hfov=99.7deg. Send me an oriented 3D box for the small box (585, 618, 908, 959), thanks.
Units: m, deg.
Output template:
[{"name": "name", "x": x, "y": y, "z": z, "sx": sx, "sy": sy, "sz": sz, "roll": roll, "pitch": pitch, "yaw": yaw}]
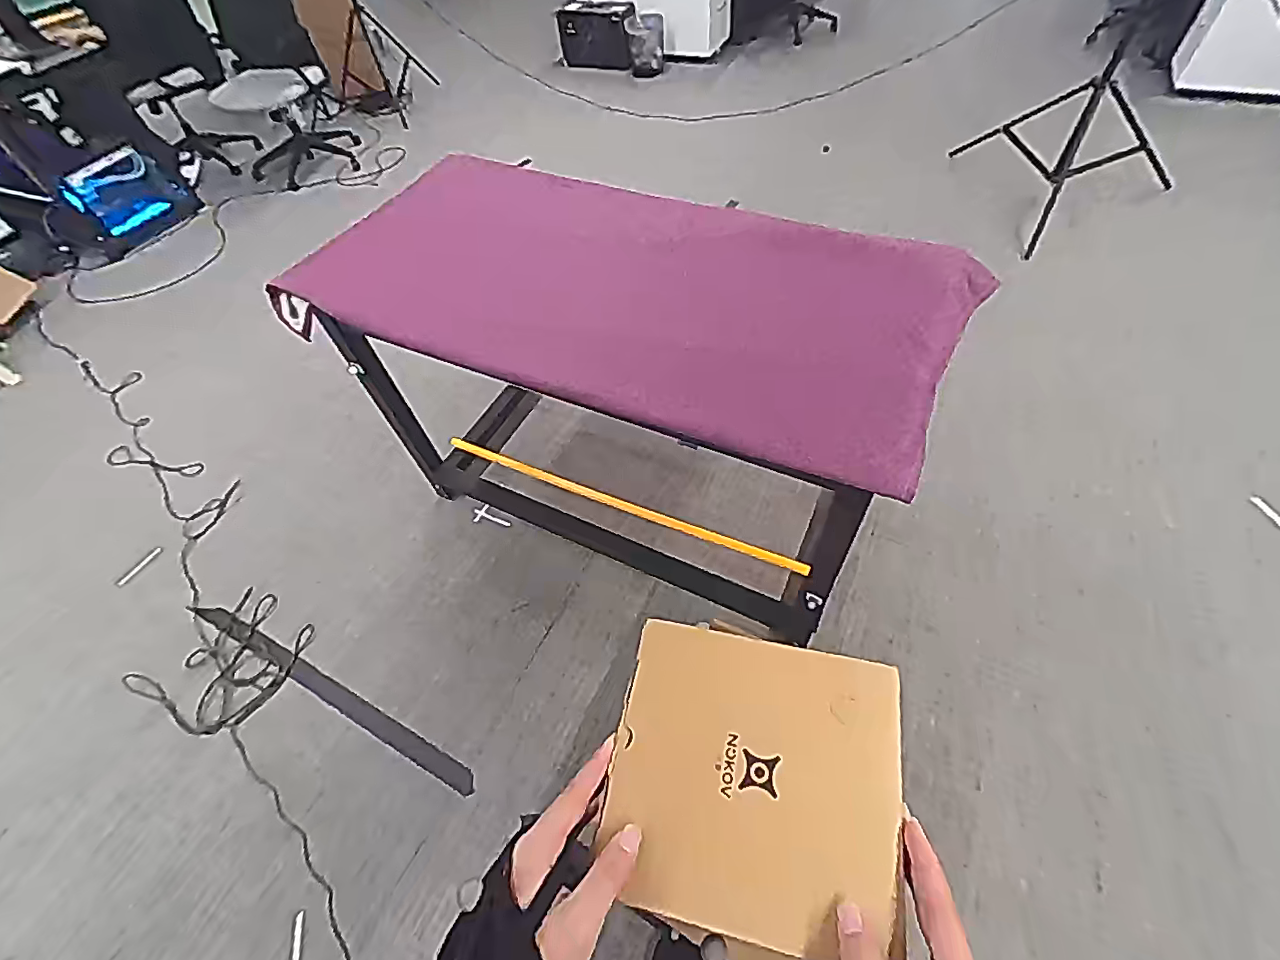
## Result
[{"name": "small box", "x": 0.078, "y": 0.222, "z": 0.399, "sx": 0.179, "sy": 0.176, "sz": 0.168, "roll": 7, "pitch": 56, "yaw": 12}]
